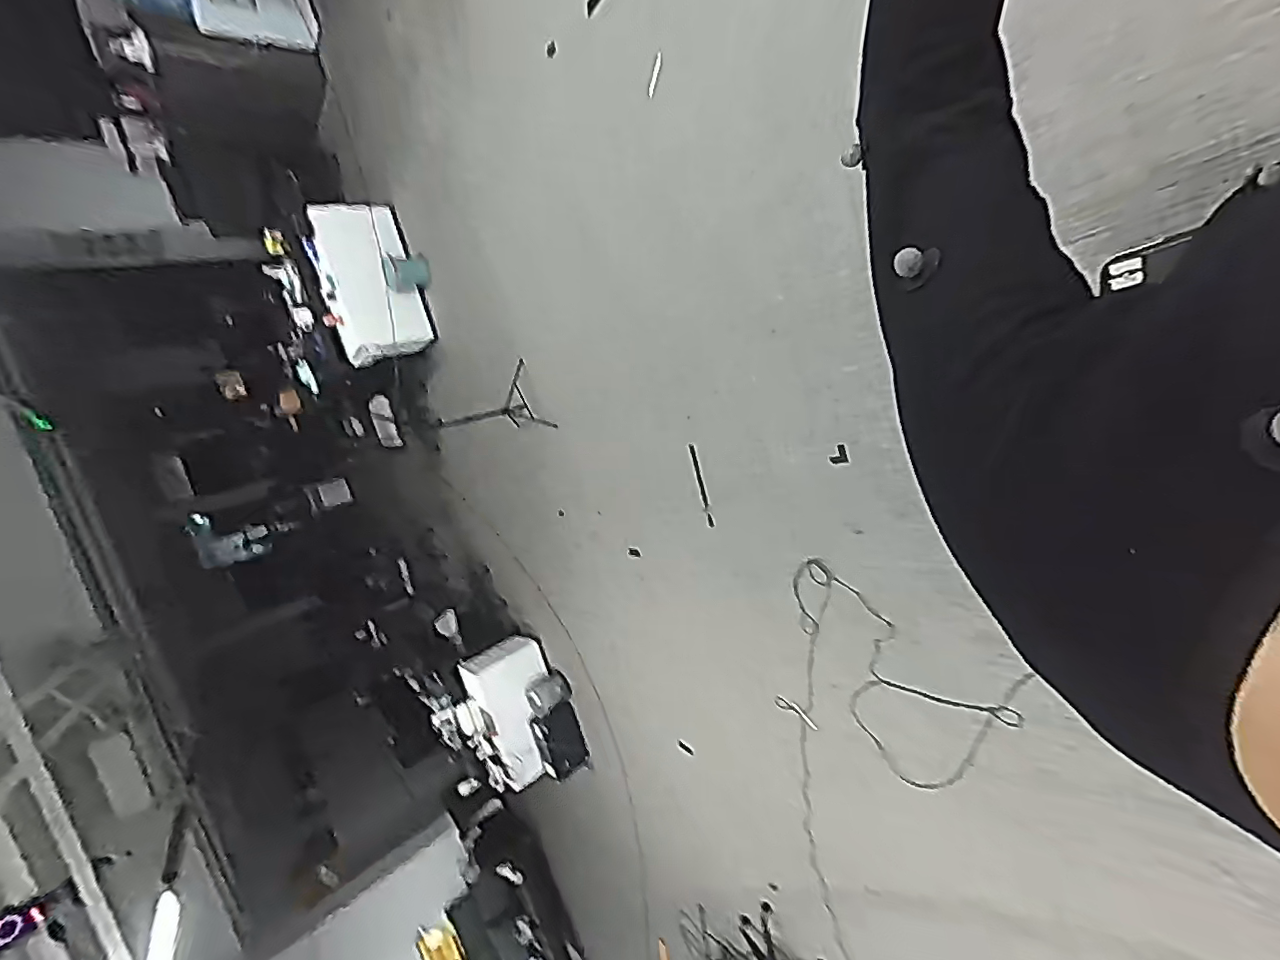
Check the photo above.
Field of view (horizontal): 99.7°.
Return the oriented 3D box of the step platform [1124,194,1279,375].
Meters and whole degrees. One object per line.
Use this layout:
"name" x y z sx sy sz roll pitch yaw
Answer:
"step platform" 1.269 -0.400 0.904 0.684 0.204 0.286 -12 98 52
